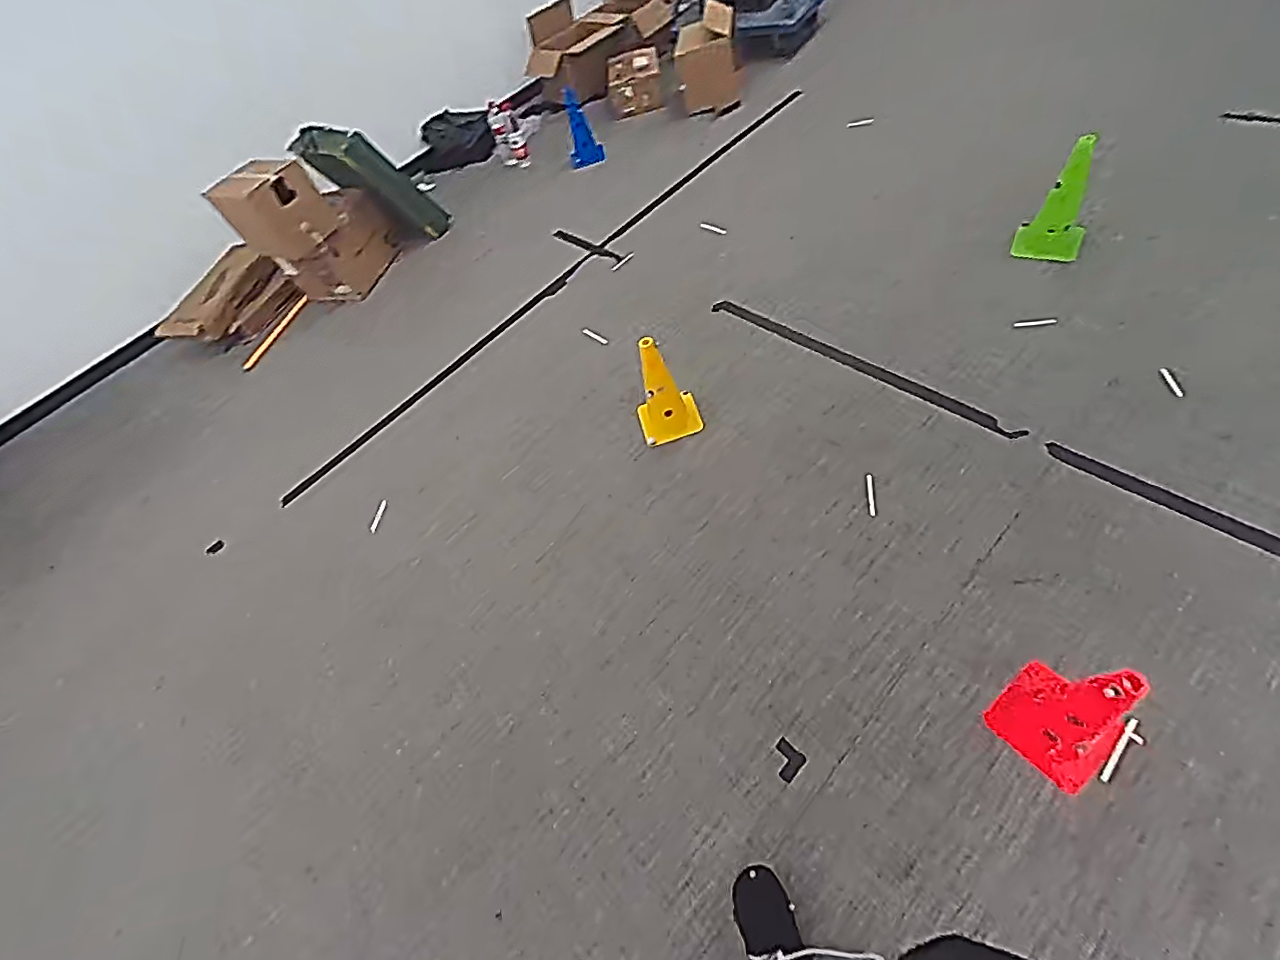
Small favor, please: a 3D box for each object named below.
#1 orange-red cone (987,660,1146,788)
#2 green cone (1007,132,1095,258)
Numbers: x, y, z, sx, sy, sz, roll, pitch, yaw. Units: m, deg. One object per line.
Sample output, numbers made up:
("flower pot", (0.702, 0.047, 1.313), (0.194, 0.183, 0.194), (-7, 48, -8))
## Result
("orange-red cone", (0.839, 0.415, 1.016), (0.198, 0.360, 0.199), (-38, 53, -12))
("green cone", (1.412, -0.962, 1.807), (0.202, 0.368, 0.200), (19, 64, 26))
